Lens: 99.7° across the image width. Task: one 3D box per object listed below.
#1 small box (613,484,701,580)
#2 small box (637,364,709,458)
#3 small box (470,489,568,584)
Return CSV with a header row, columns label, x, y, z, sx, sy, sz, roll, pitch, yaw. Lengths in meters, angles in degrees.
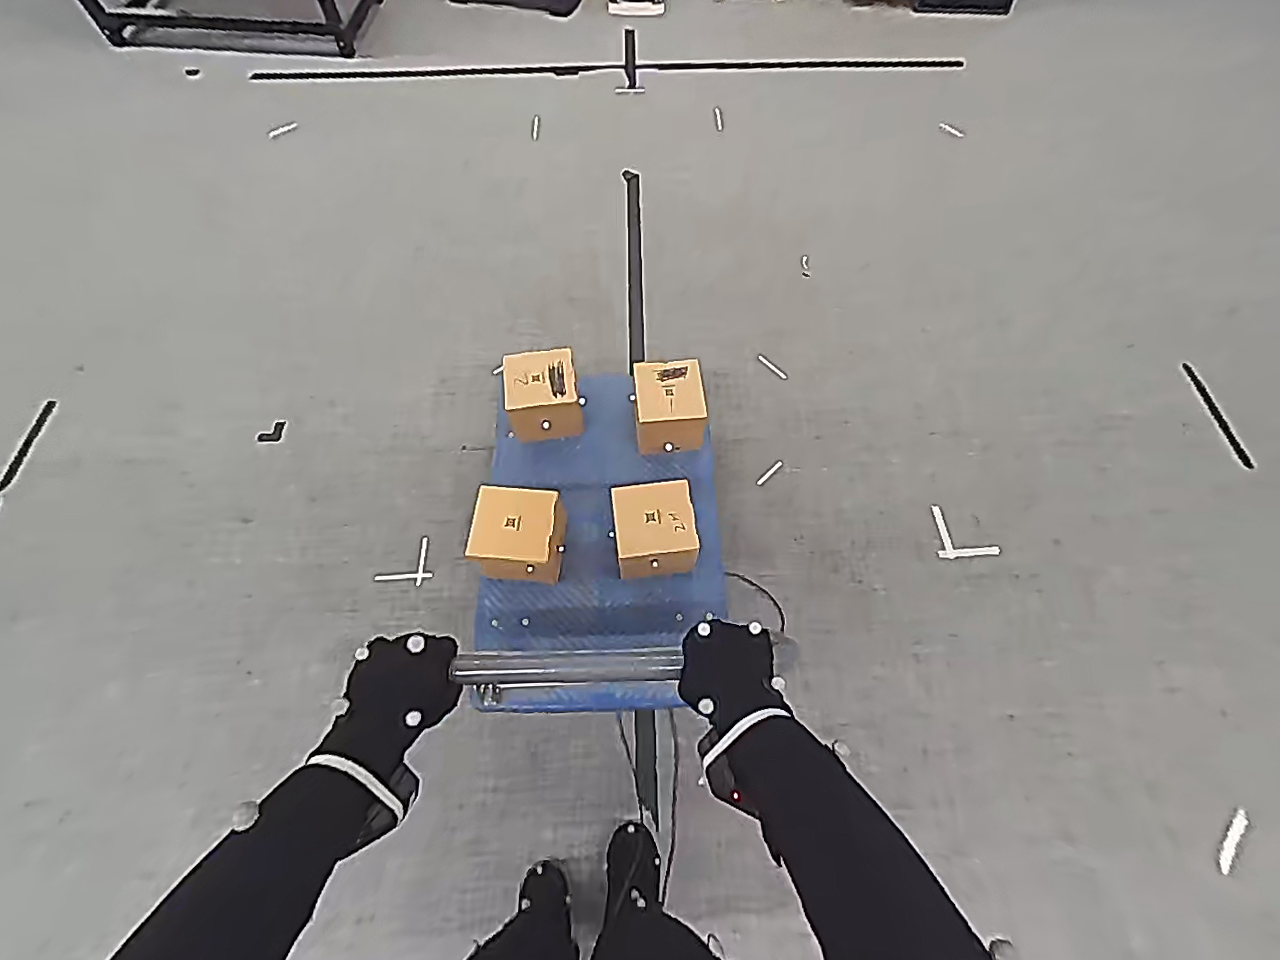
label,x,y,z,sx,sy,sz,roll,pitch,yaw
small box,0.036,0.126,1.248,0.179,0.176,0.168,-6,64,-3
small box,0.079,-0.176,1.397,0.168,0.176,0.179,-4,65,-2
small box,-0.269,0.134,1.244,0.179,0.176,0.168,5,63,0
